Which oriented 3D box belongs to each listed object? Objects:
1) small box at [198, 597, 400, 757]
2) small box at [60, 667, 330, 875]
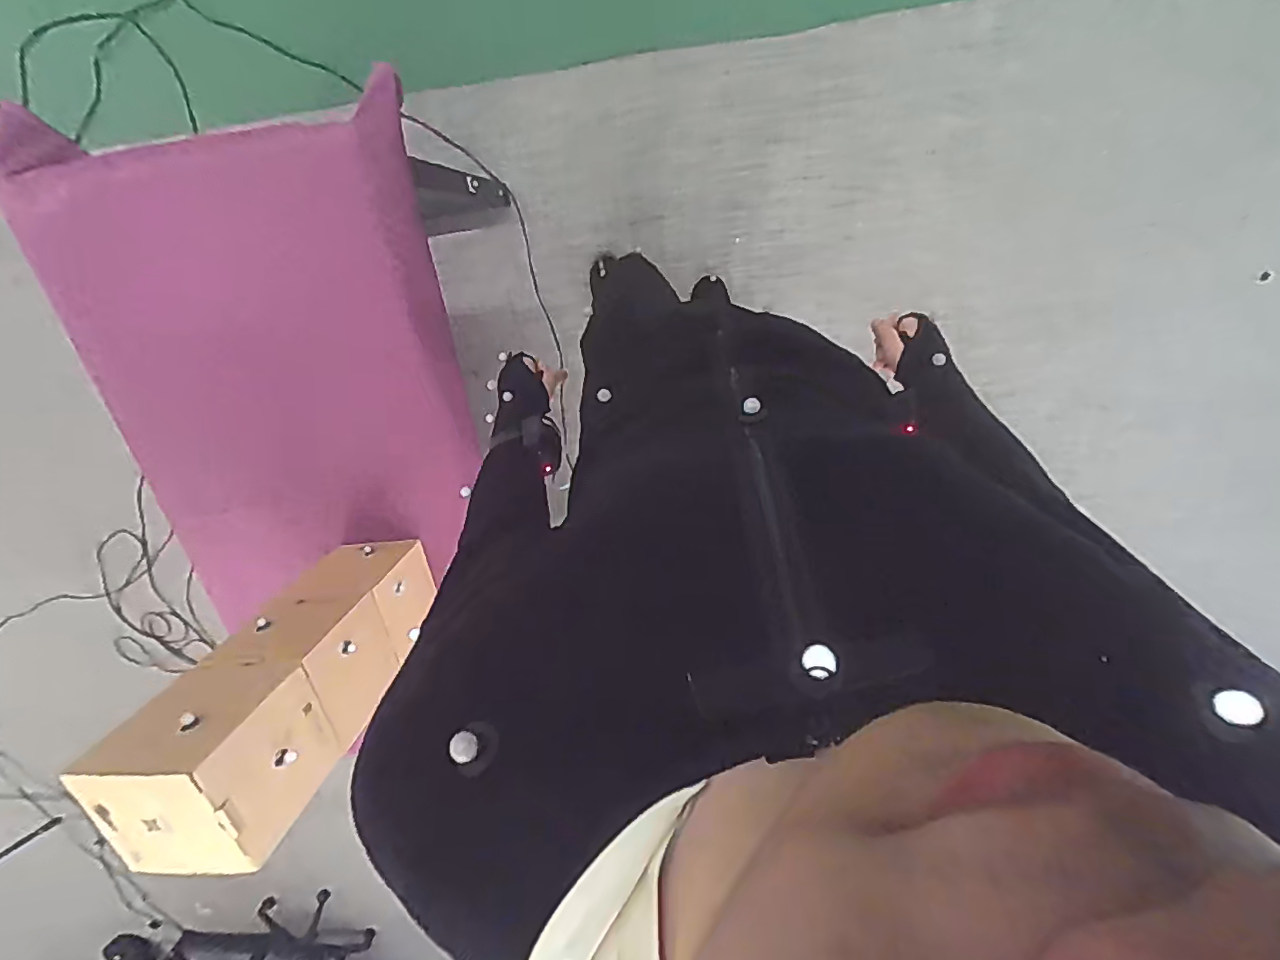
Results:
[{"bbox_3d":[-0.501,0.291,0.824,0.168,0.176,0.179,-5,112,9],"label":"small box"},{"bbox_3d":[-0.525,0.354,0.676,0.179,0.176,0.168,-6,111,9],"label":"small box"}]
